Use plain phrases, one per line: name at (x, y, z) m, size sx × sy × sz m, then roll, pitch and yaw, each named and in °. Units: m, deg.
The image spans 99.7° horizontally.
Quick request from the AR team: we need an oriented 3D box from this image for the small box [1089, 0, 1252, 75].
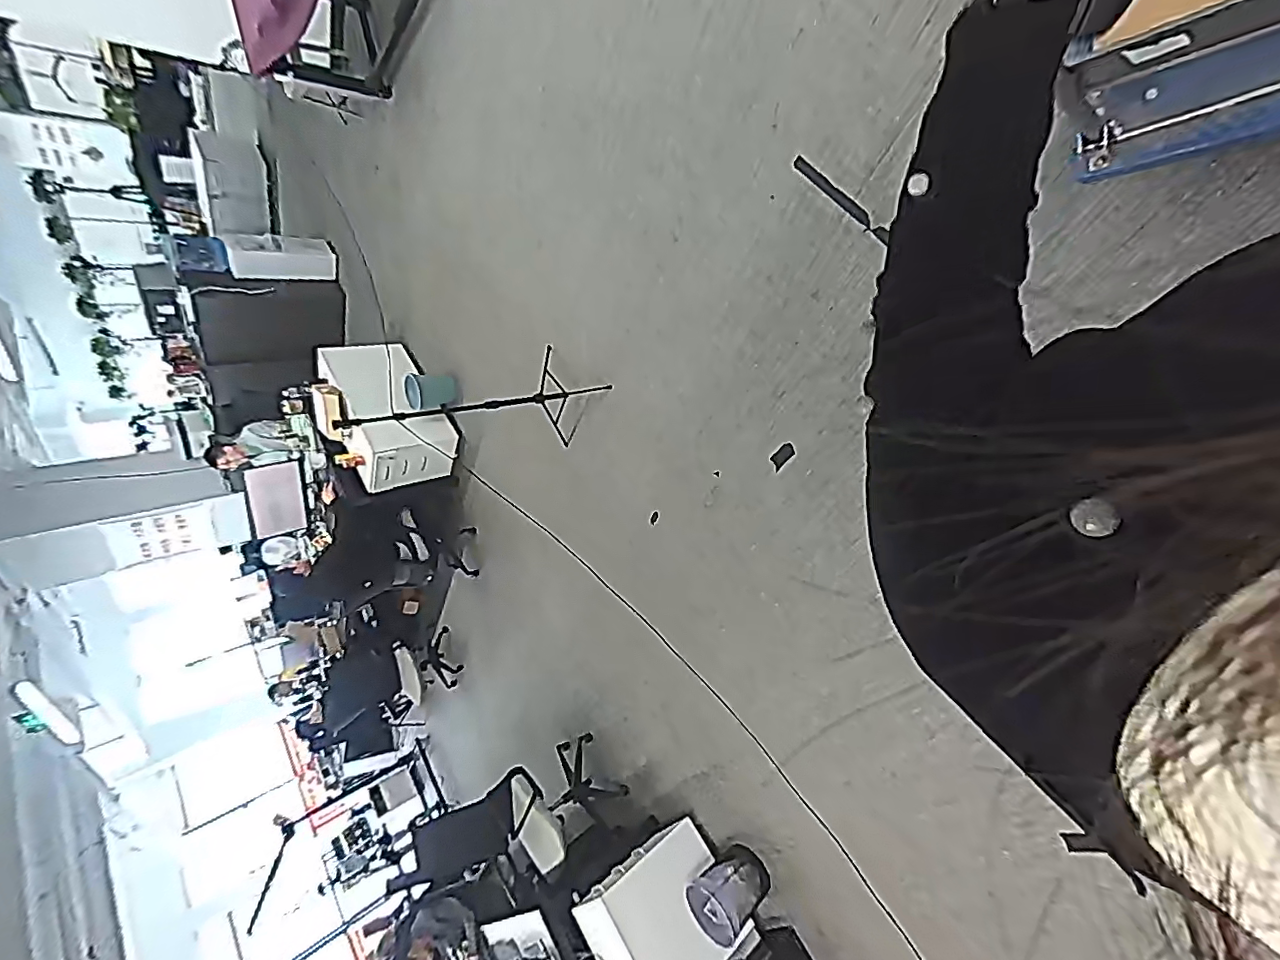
small box at (0.793, -0.747, 0.809) m, size 0.168 × 0.176 × 0.179 m, roll 0°, pitch 103°, yaw 48°
